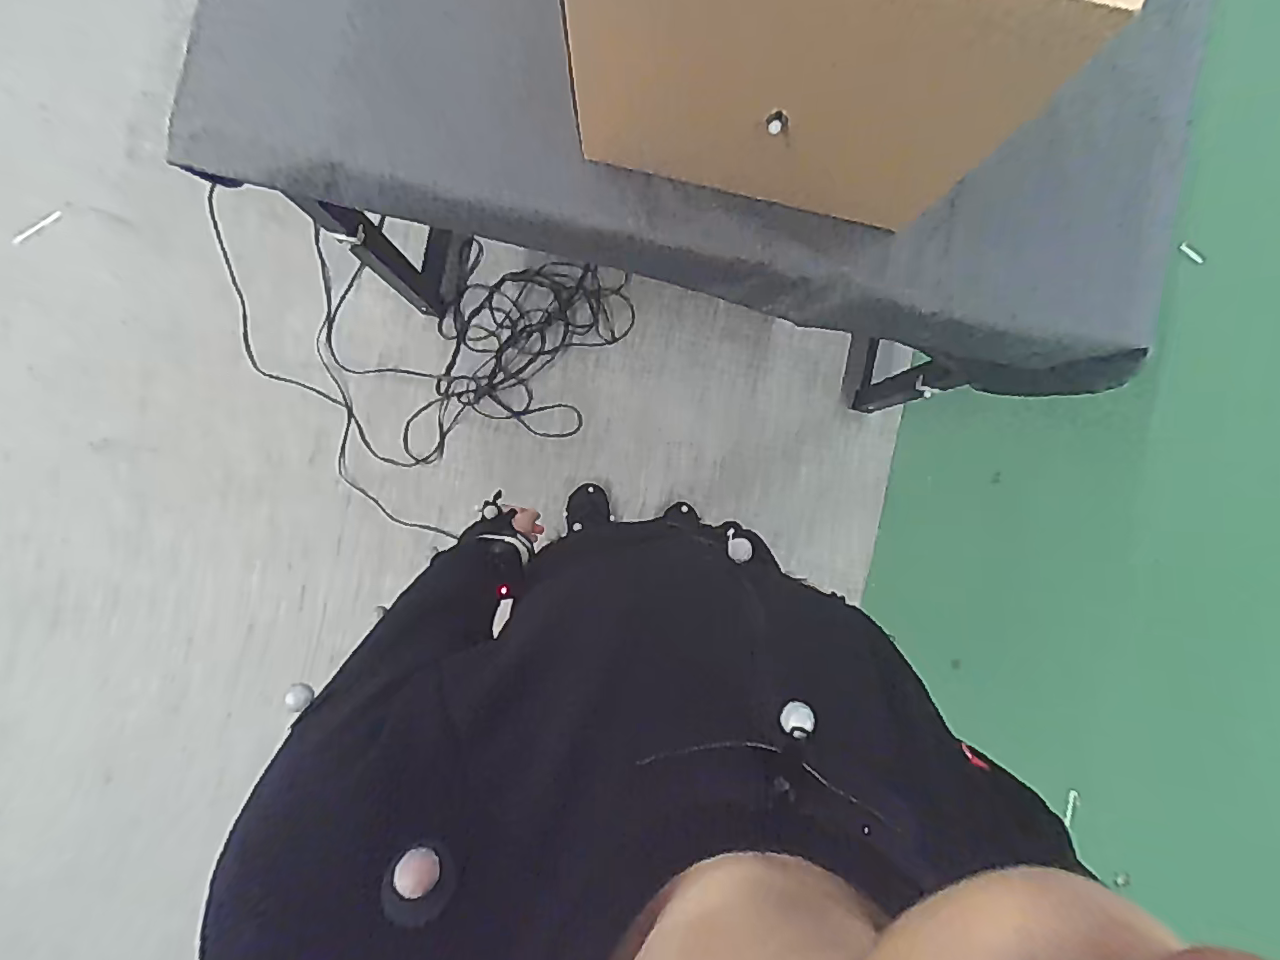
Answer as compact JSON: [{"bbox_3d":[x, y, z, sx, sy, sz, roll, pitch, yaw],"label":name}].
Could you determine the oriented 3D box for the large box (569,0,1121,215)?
[{"bbox_3d":[0.163,-0.505,0.519,0.408,0.320,0.320,11,89,-1],"label":"large box"}]
